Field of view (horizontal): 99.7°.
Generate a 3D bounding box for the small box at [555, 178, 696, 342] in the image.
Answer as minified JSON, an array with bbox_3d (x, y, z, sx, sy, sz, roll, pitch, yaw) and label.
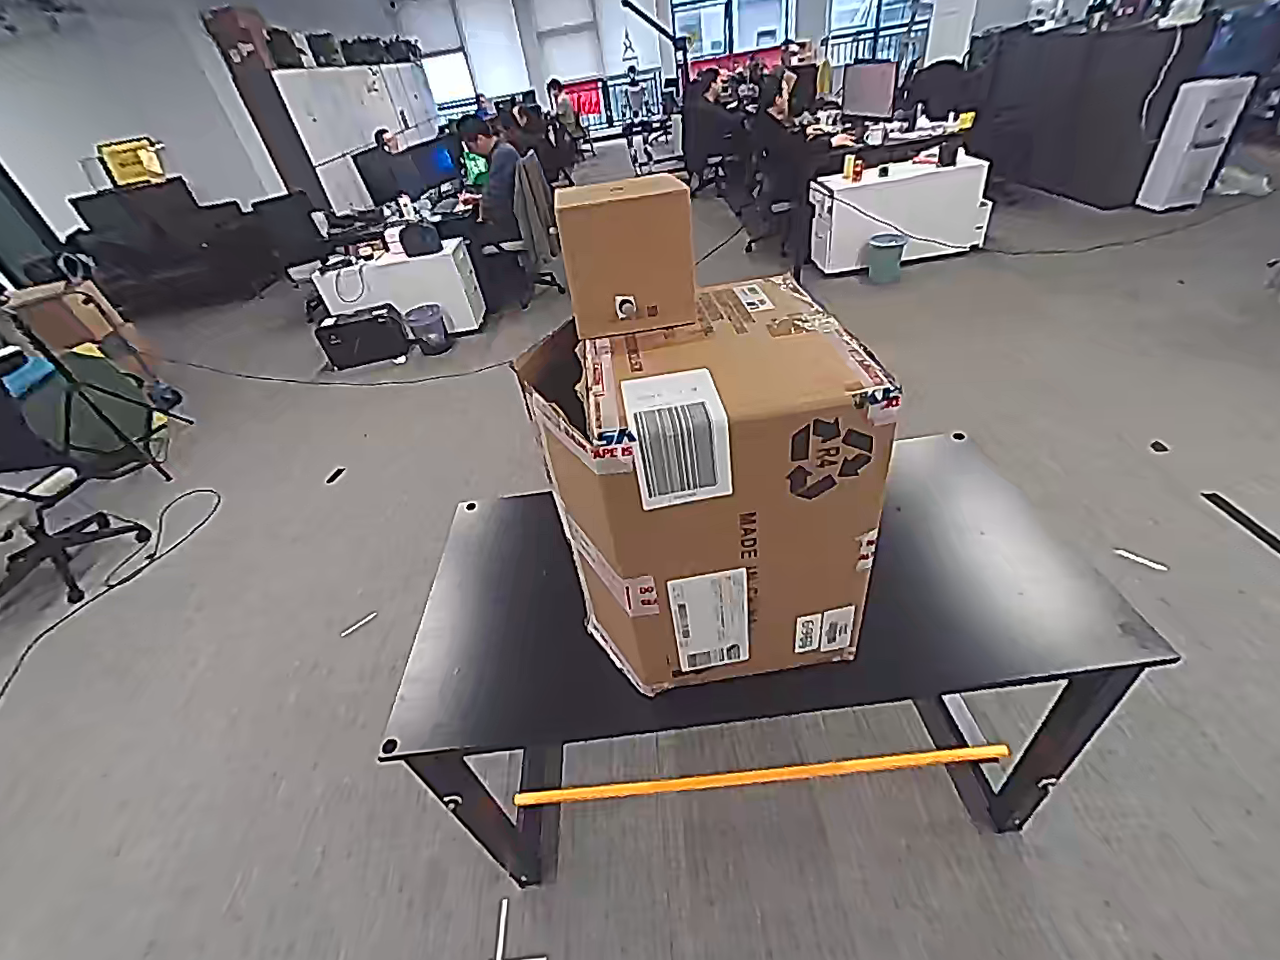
[{"bbox_3d":[-0.021,-0.311,0.759,0.168,0.176,0.179,-11,36,-2],"label":"small box"}]
